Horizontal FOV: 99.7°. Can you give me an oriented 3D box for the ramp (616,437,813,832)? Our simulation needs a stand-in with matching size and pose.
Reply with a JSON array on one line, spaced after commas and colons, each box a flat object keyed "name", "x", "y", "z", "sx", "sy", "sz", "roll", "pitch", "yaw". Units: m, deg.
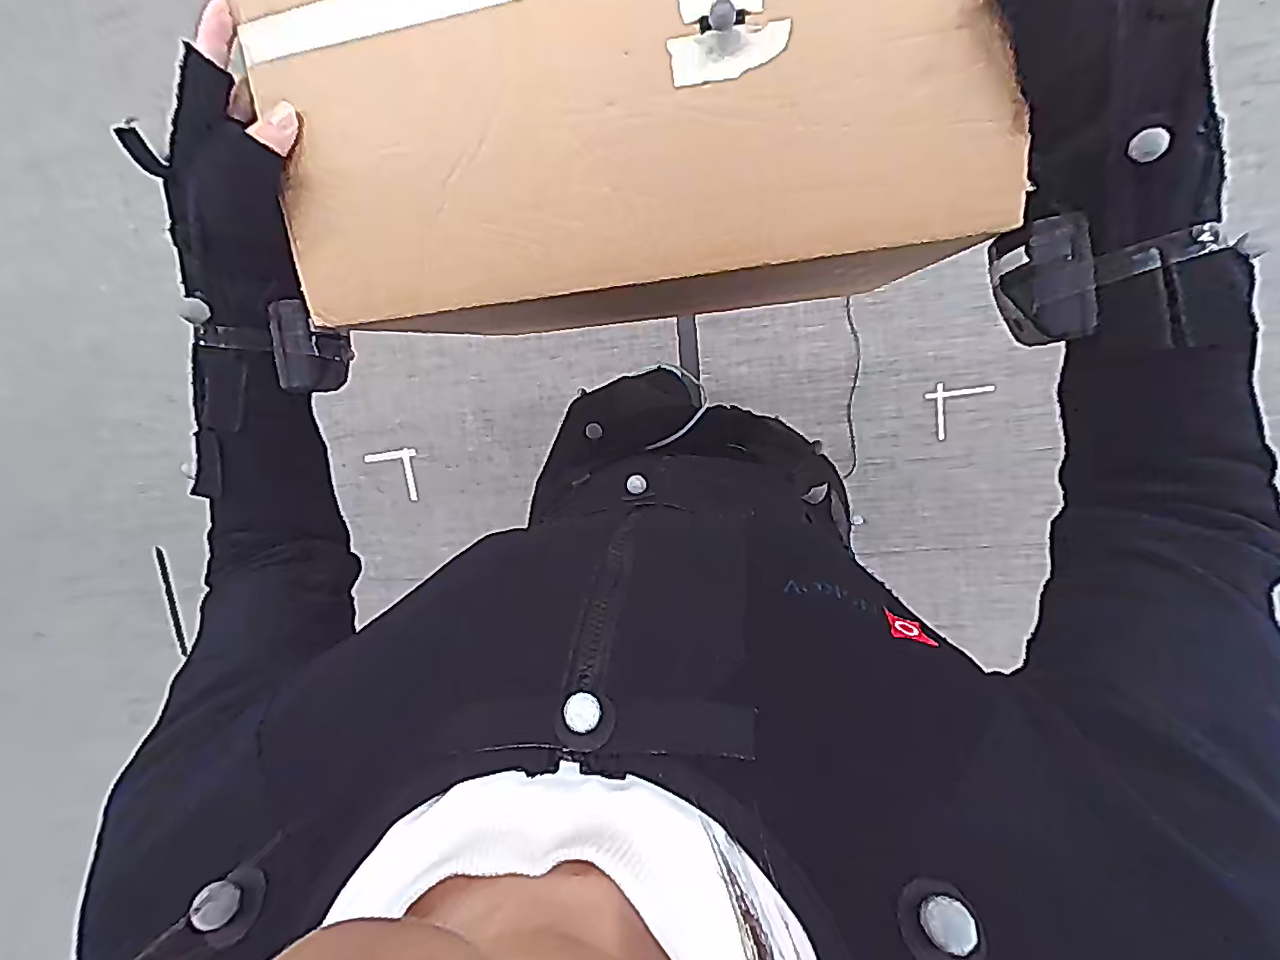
[{"name": "ramp", "x": 0.182, "y": 0.393, "z": 1.425, "sx": 0.509, "sy": 0.206, "sz": 0.991, "roll": -3, "pitch": 97, "yaw": 12}]

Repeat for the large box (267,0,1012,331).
[{"name": "large box", "x": 0.001, "y": -0.306, "z": 0.427, "sx": 0.408, "sy": 0.320, "sz": 0.320, "roll": -4, "pitch": 104, "yaw": 10}]
